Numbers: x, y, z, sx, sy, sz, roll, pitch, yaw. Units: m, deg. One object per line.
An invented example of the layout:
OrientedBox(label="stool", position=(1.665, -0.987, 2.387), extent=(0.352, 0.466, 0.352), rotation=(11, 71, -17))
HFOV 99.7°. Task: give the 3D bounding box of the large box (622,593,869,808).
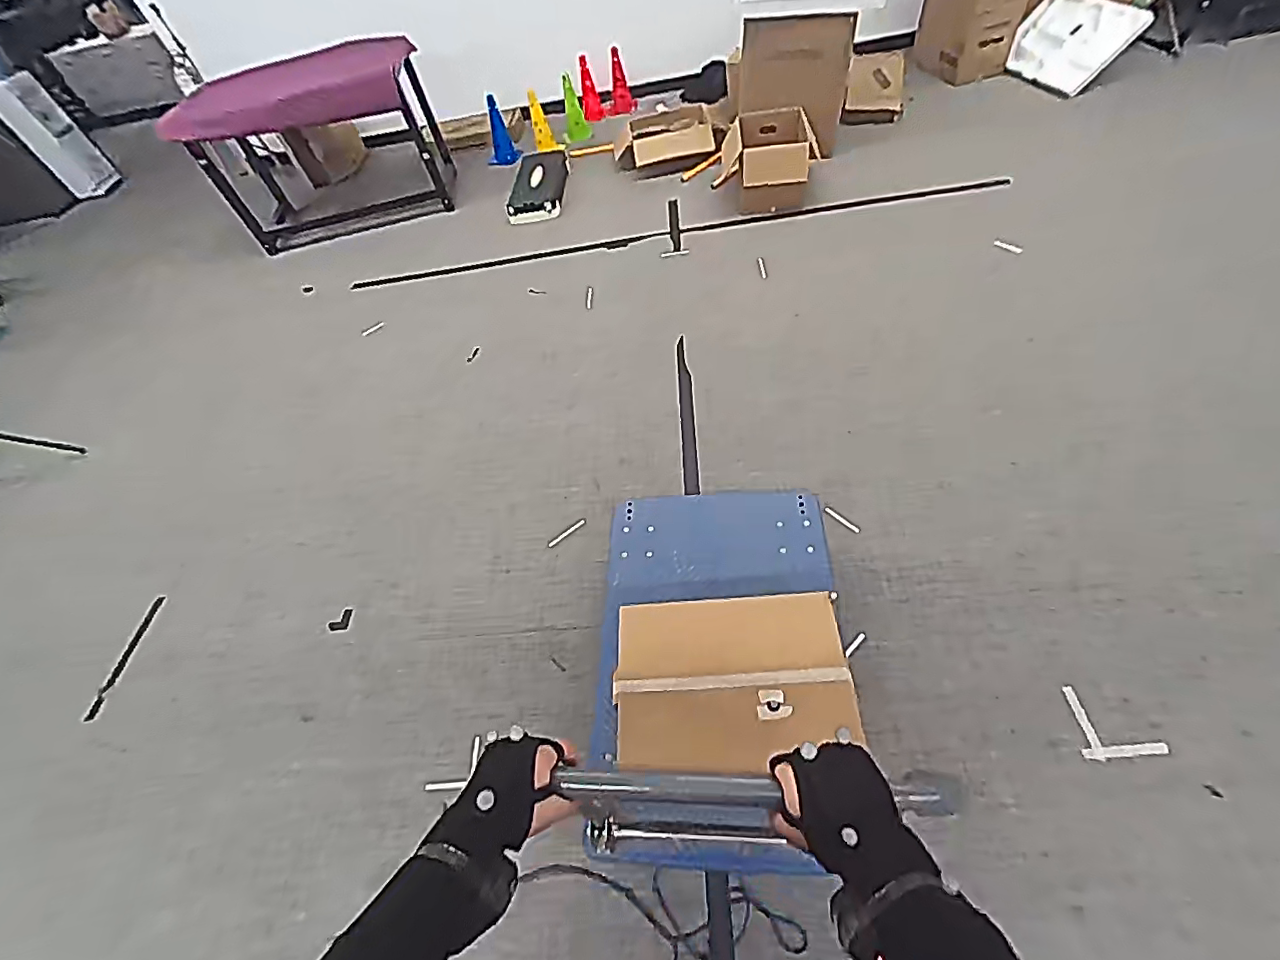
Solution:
OrientedBox(label="large box", position=(0.183, 0.449, 1.080), extent=(0.408, 0.320, 0.320), rotation=(-5, 53, 5))
